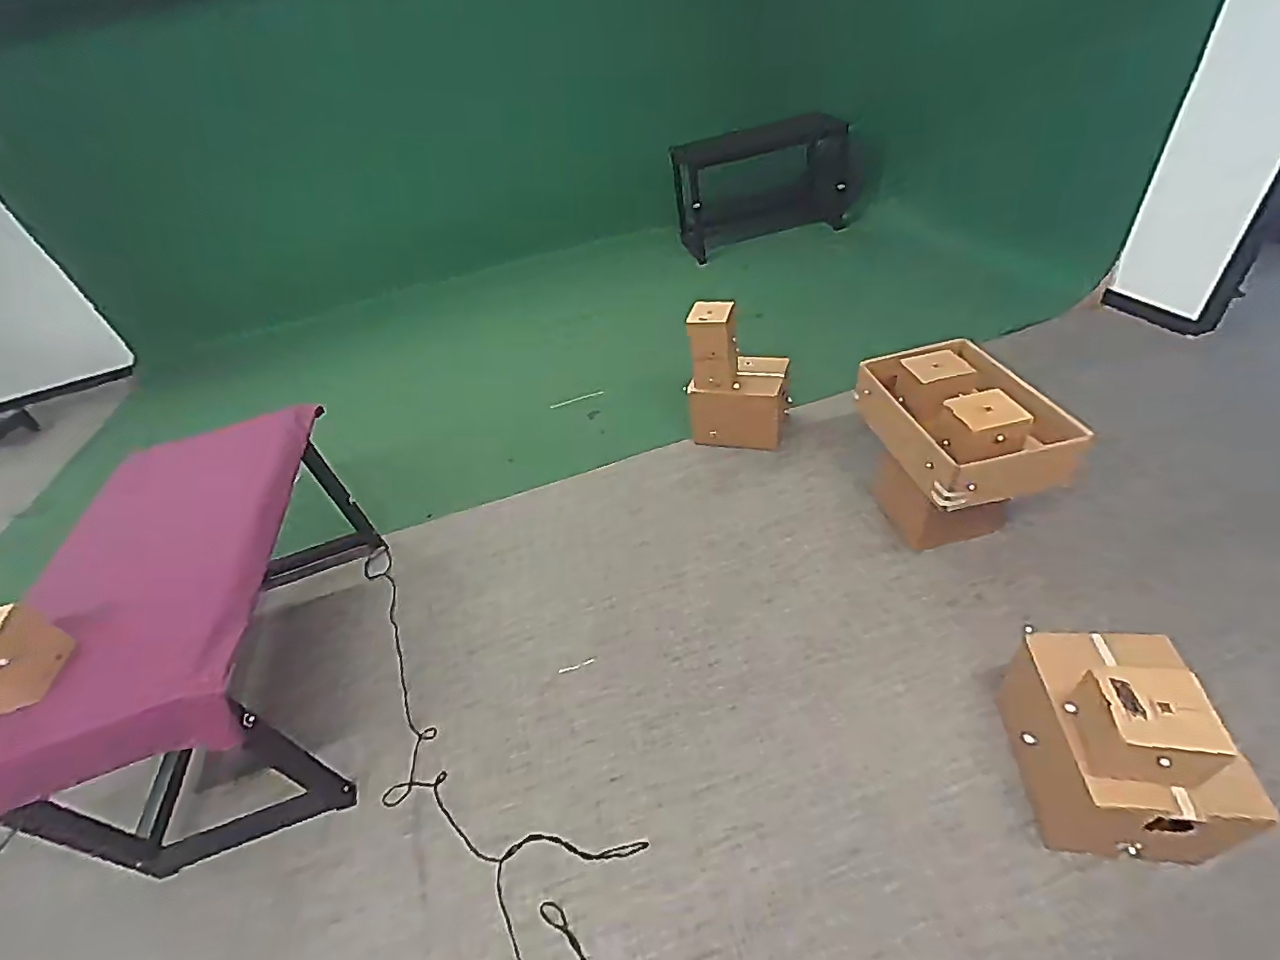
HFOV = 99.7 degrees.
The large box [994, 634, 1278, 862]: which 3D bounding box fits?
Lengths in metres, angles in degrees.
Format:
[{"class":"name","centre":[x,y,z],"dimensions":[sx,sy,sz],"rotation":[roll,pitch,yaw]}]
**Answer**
[{"class":"large box","centre":[1.120,0.632,1.298],"dimensions":[0.320,0.320,0.408],"rotation":[-2,41,12]}]

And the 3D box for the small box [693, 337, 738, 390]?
[{"class":"small box","centre":[0.340,-0.521,2.402],"dimensions":[0.168,0.176,0.179],"rotation":[6,46,21]}]

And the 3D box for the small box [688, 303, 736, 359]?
[{"class":"small box","centre":[0.309,-0.633,2.286],"dimensions":[0.168,0.176,0.179],"rotation":[6,45,20]}]

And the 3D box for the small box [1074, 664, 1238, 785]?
[{"class":"small box","centre":[1.023,0.497,1.099],"dimensions":[0.179,0.176,0.168],"rotation":[0,43,16]}]

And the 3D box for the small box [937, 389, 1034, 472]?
[{"class":"small box","centre":[1.044,-0.148,1.653],"dimensions":[0.179,0.176,0.168],"rotation":[-13,41,2]}]
